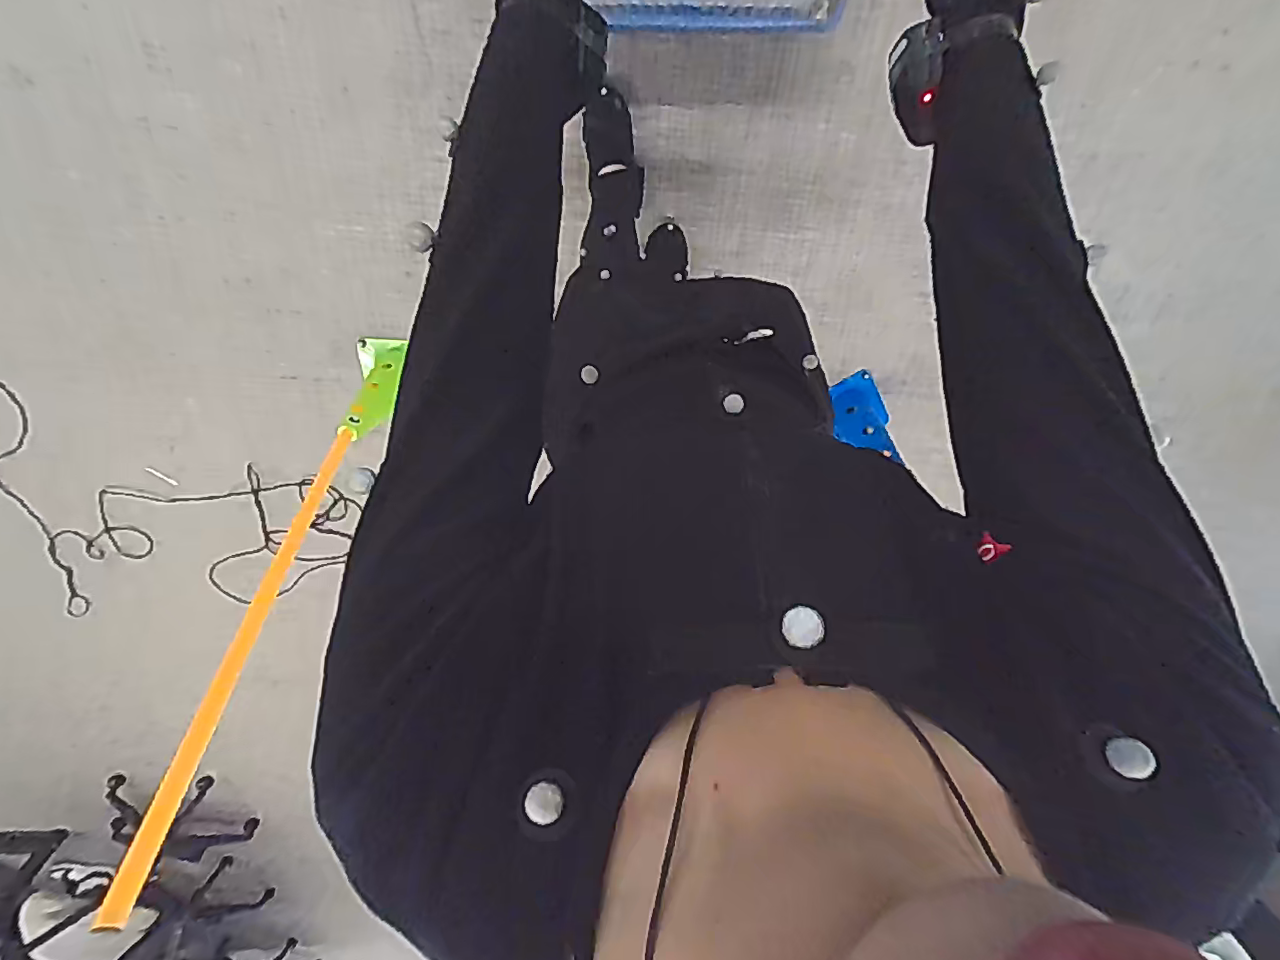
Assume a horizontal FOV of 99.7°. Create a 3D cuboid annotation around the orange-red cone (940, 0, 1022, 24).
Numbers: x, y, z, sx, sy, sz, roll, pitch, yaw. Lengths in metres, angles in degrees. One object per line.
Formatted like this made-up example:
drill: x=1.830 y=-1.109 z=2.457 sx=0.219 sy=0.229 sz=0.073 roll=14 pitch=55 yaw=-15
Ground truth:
orange-red cone: x=0.684 y=-0.934 z=0.893 sx=0.198 sy=0.360 sz=0.199 roll=13 pitch=121 yaw=-9
